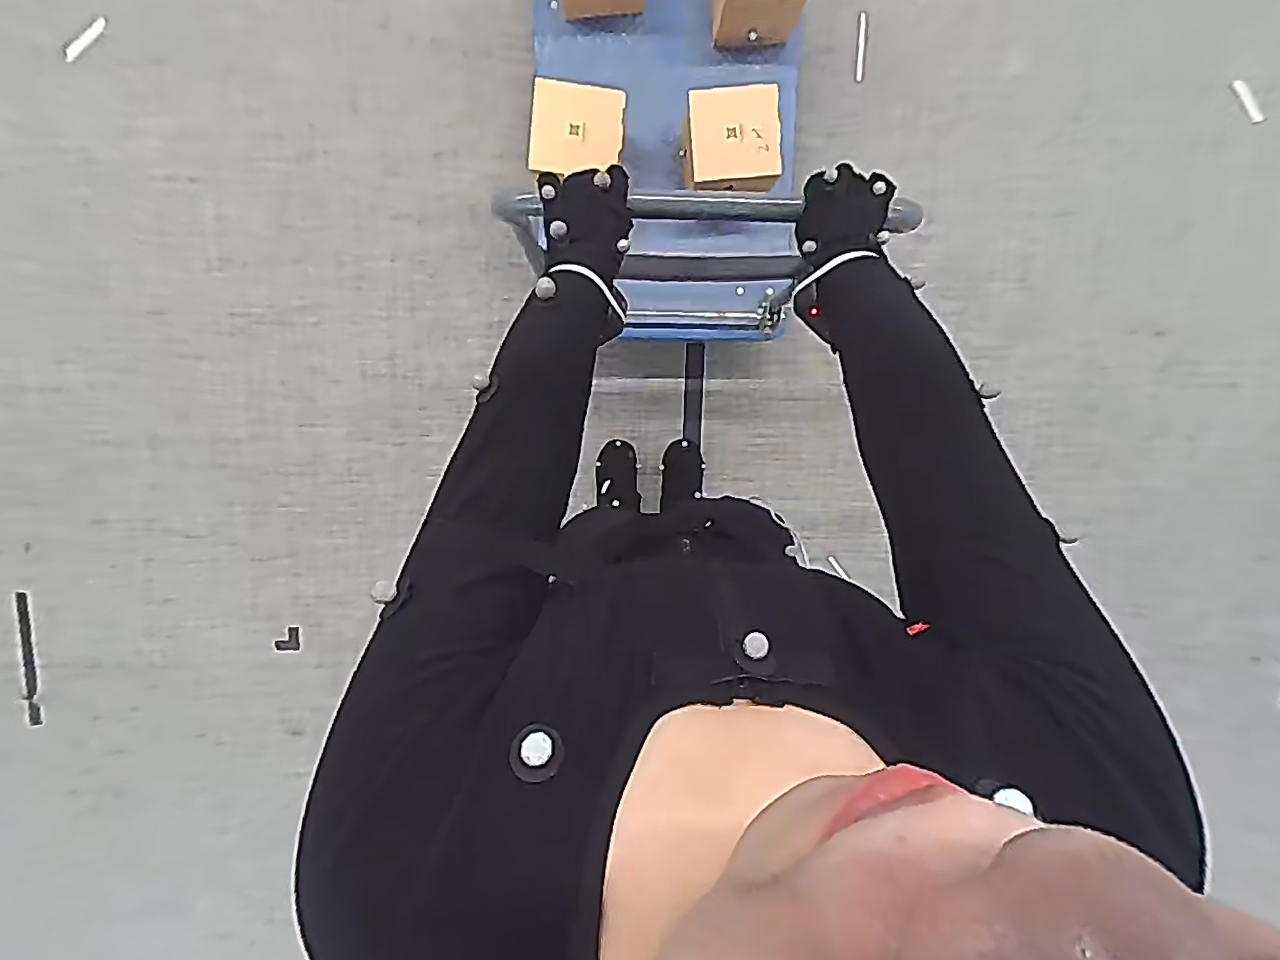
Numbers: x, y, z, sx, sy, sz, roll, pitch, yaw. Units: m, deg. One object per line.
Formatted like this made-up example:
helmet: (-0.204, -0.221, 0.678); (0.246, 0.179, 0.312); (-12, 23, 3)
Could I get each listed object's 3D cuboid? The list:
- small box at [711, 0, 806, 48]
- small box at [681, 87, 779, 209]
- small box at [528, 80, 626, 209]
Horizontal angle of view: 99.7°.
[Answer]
small box: (0.234, -1.014, 1.082); (0.168, 0.176, 0.179); (-3, 100, -1)
small box: (0.180, -0.683, 1.131); (0.179, 0.176, 0.168); (-5, 99, -1)
small box: (-0.126, -0.683, 1.122); (0.179, 0.176, 0.168); (6, 98, -4)
